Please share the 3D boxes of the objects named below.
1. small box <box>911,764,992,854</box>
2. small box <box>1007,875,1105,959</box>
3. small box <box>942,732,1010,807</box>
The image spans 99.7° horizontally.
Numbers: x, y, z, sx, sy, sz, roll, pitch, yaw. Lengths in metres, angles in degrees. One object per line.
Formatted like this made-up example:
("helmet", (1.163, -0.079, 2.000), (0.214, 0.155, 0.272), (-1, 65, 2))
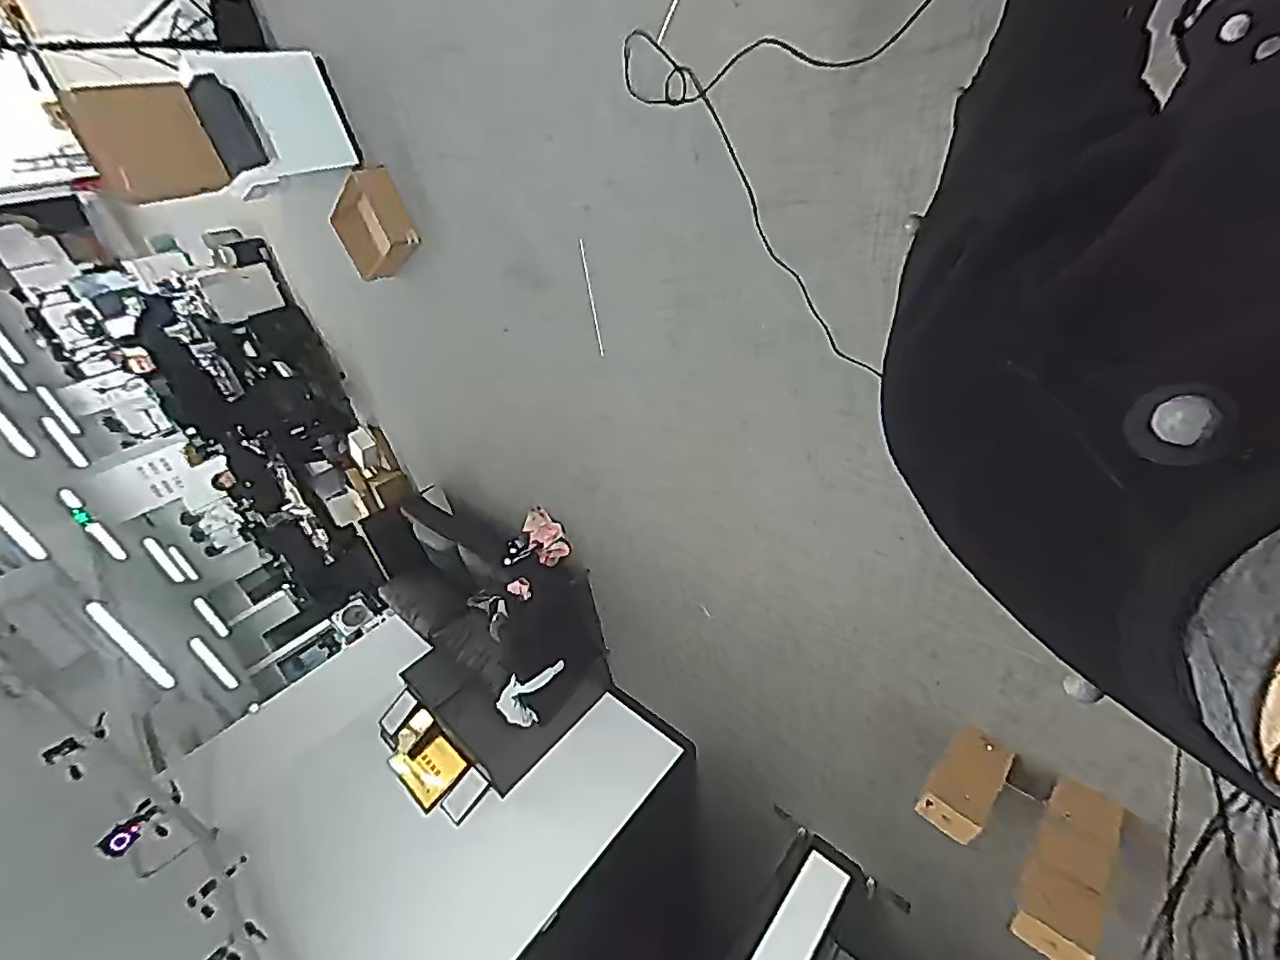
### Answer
("small box", (1.073, 1.126, 1.859), (0.179, 0.176, 0.168), (29, 137, 30))
("small box", (1.200, 1.292, 1.561), (0.179, 0.176, 0.168), (20, 132, 38))
("small box", (1.195, 1.057, 1.946), (0.168, 0.176, 0.179), (29, 137, 31))
